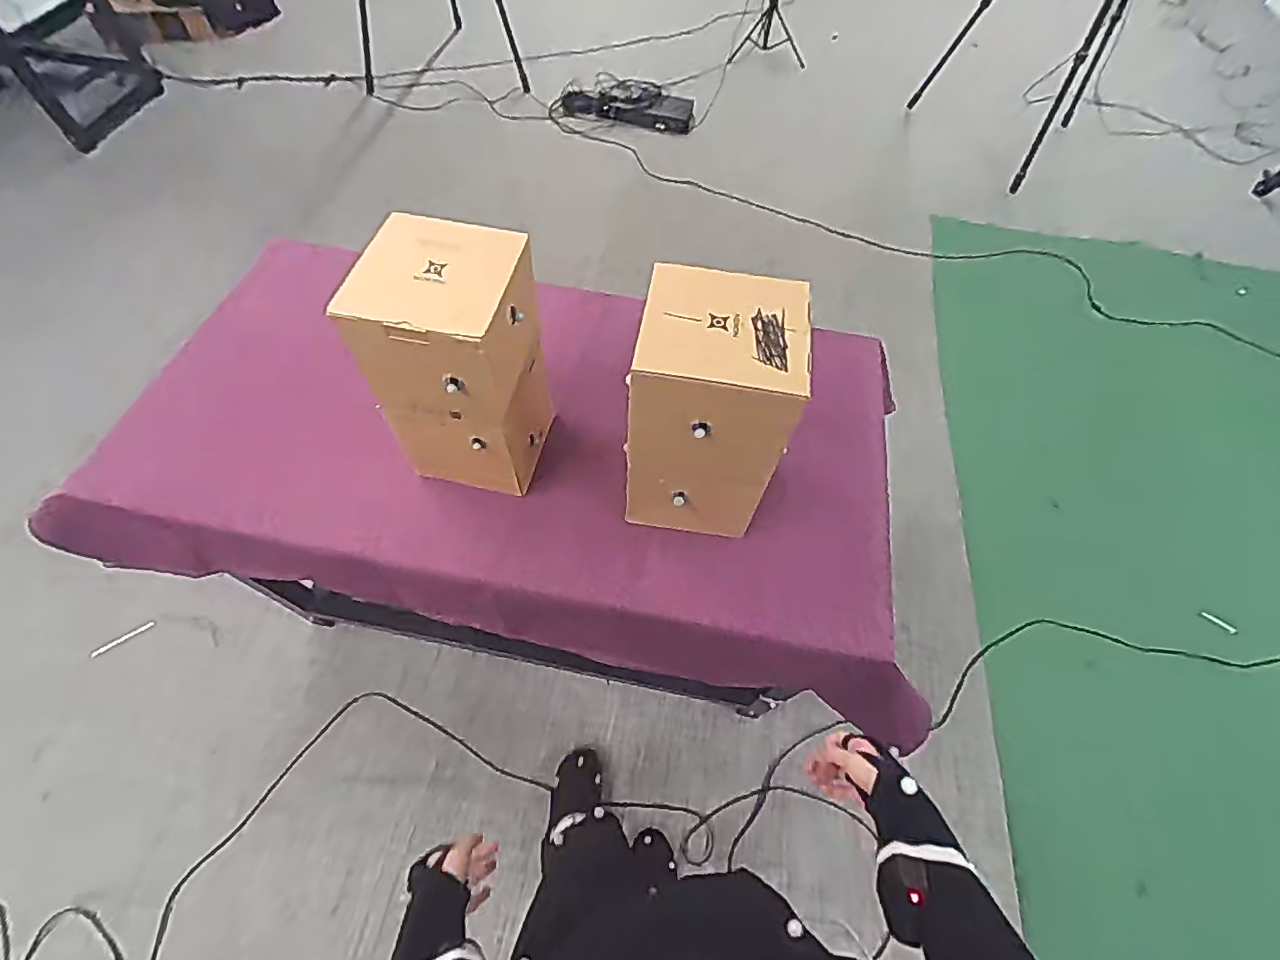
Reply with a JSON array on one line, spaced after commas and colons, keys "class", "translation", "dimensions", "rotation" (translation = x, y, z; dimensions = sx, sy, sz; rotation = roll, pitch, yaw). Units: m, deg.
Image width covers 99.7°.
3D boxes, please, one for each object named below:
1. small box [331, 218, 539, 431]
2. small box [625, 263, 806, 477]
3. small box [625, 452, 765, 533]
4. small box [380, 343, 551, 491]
[{"class": "small box", "translation": [-0.229, -0.183, 0.664], "dimensions": [0.168, 0.176, 0.179], "rotation": [11, 58, 2]}, {"class": "small box", "translation": [0.082, -0.120, 0.632], "dimensions": [0.179, 0.176, 0.168], "rotation": [9, 58, 3]}, {"class": "small box", "translation": [0.077, -0.038, 0.775], "dimensions": [0.179, 0.176, 0.168], "rotation": [8, 59, 3]}, {"class": "small box", "translation": [-0.242, -0.101, 0.803], "dimensions": [0.179, 0.176, 0.168], "rotation": [11, 59, 3]}]
